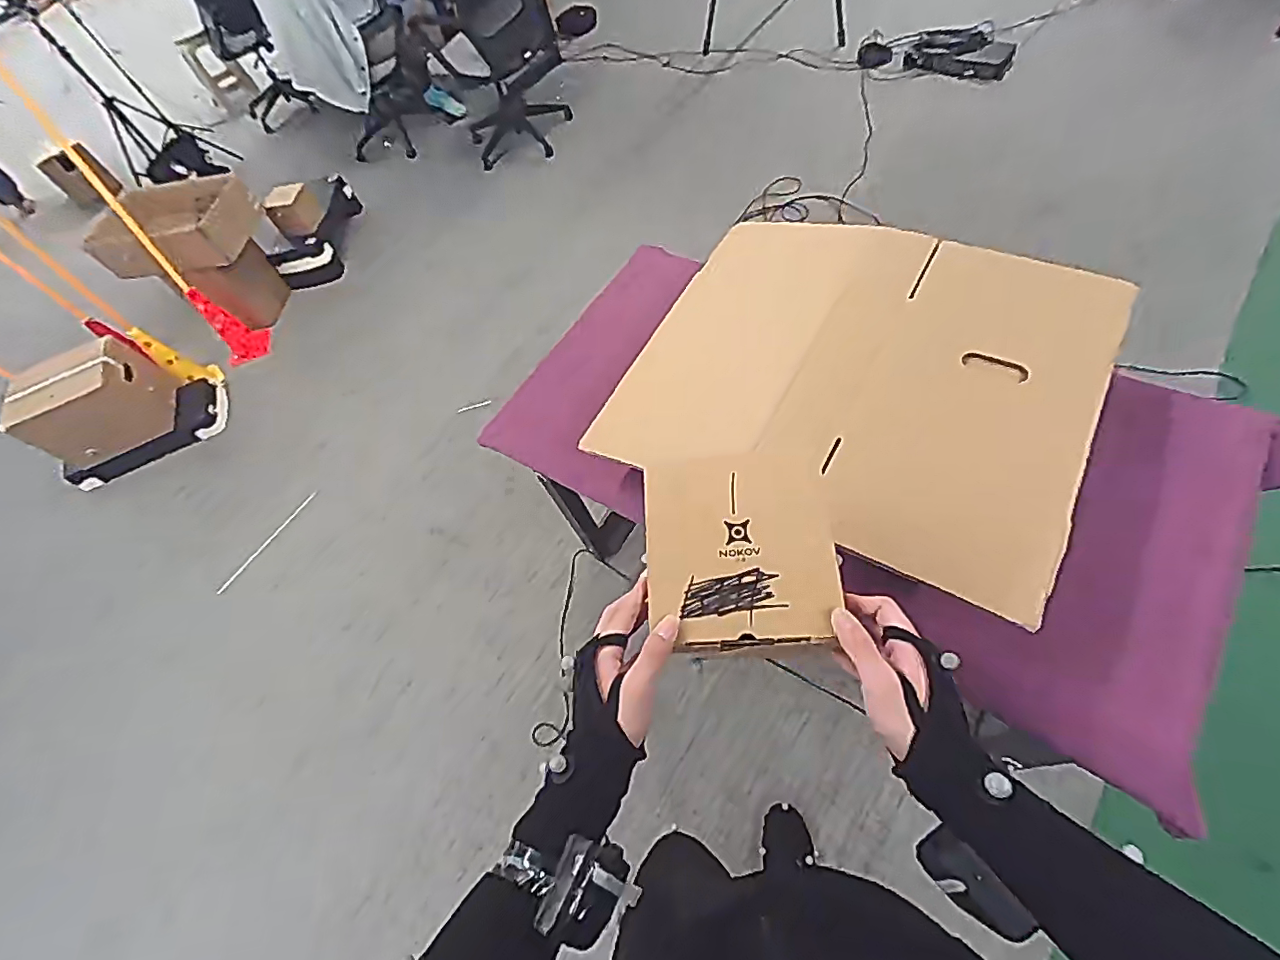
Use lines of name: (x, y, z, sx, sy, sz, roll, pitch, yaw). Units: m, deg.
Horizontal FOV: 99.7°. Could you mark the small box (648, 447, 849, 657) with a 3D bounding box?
small box: (0.102, 0.084, 0.549, 0.168, 0.176, 0.179, -4, 67, 8)
